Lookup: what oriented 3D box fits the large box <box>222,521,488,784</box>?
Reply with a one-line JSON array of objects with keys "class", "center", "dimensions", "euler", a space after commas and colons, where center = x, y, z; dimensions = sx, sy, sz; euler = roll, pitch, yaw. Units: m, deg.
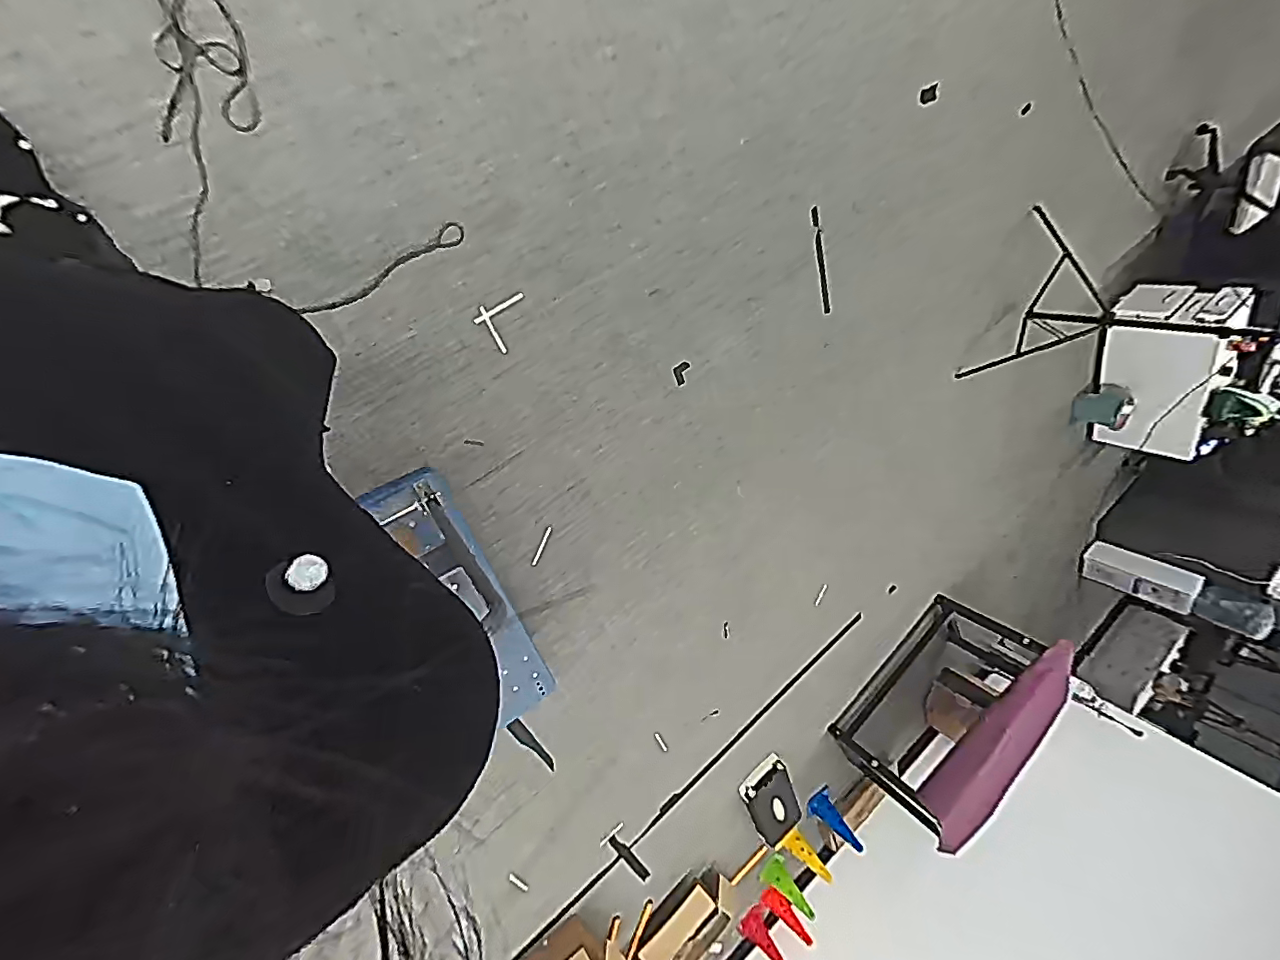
[{"class": "large box", "center": [-0.629, 0.365, 1.227], "dimensions": [0.408, 0.320, 0.320], "euler": [-34, 124, -18]}]
